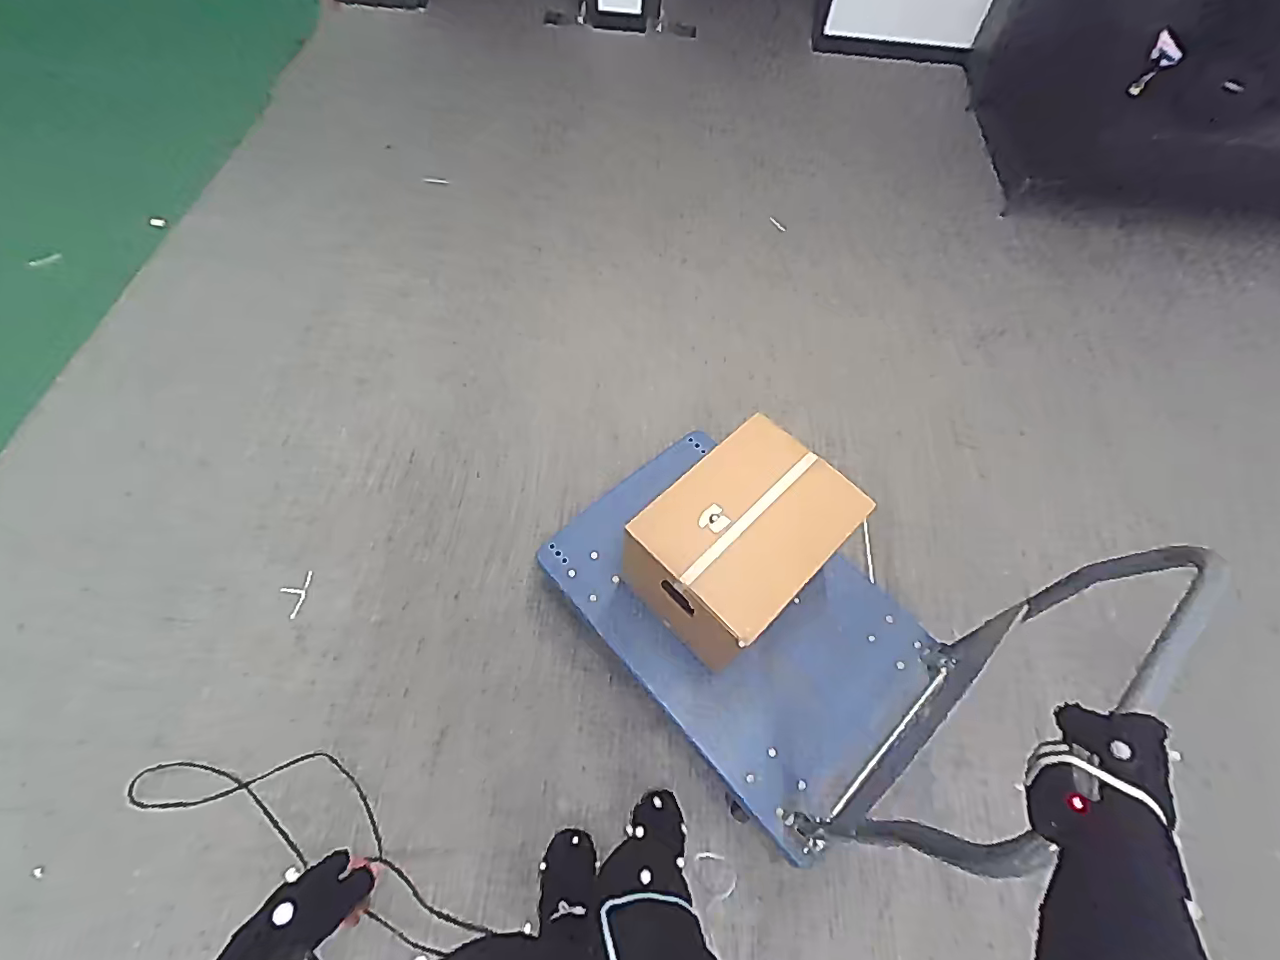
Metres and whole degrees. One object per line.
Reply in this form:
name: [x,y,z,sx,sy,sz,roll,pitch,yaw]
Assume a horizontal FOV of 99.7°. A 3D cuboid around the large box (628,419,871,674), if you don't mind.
large box: [0.218,0.151,1.192,0.408,0.320,0.320,-40,69,-21]
